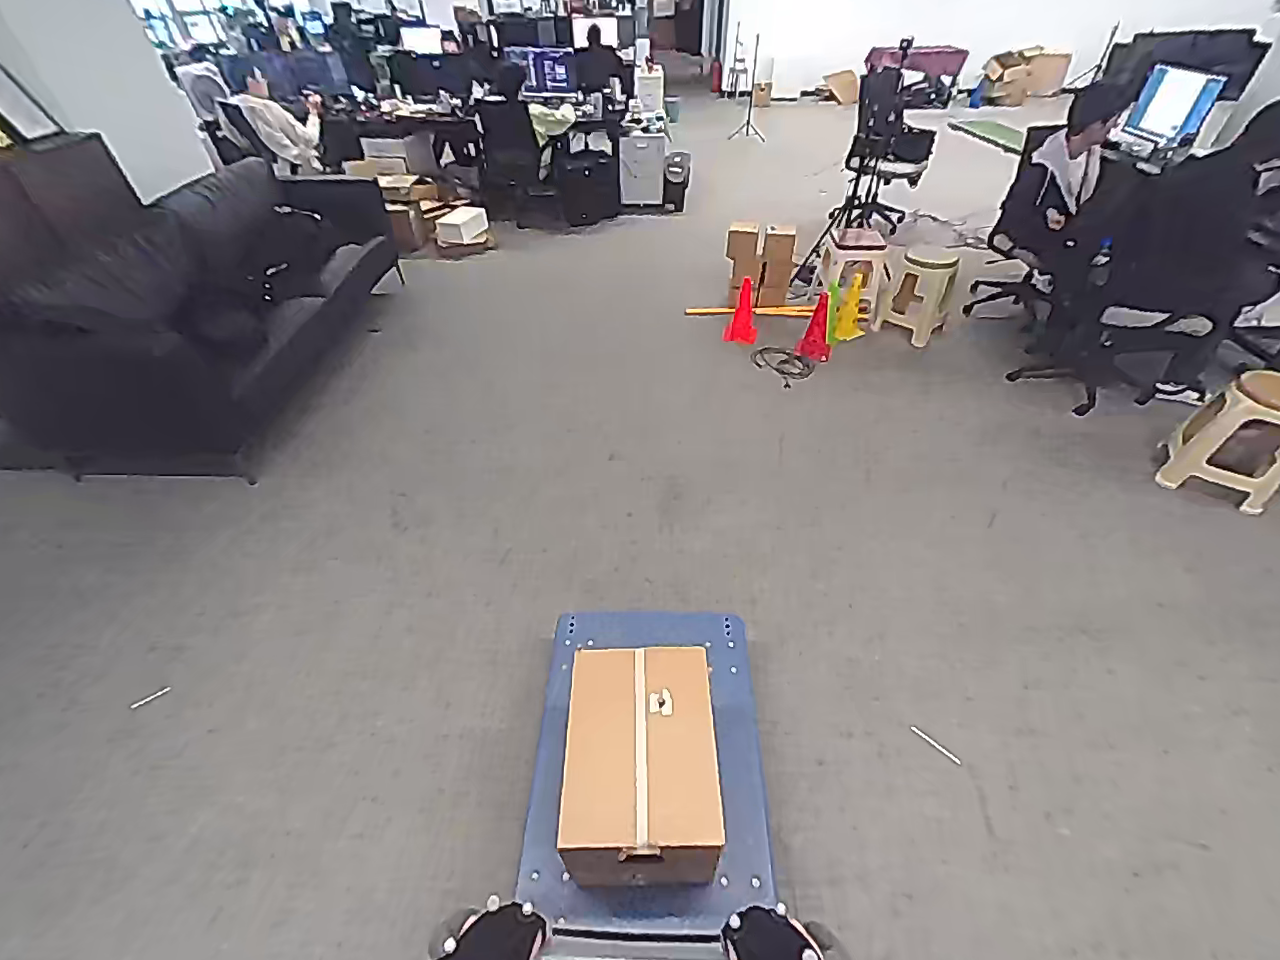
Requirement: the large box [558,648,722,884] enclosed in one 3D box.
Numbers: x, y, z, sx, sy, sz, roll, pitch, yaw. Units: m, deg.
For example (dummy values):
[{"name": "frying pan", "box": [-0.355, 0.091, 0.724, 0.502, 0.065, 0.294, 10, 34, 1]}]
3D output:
[{"name": "large box", "box": [0.001, 0.651, 1.247, 0.320, 0.320, 0.408, -1, 43, 0]}]
